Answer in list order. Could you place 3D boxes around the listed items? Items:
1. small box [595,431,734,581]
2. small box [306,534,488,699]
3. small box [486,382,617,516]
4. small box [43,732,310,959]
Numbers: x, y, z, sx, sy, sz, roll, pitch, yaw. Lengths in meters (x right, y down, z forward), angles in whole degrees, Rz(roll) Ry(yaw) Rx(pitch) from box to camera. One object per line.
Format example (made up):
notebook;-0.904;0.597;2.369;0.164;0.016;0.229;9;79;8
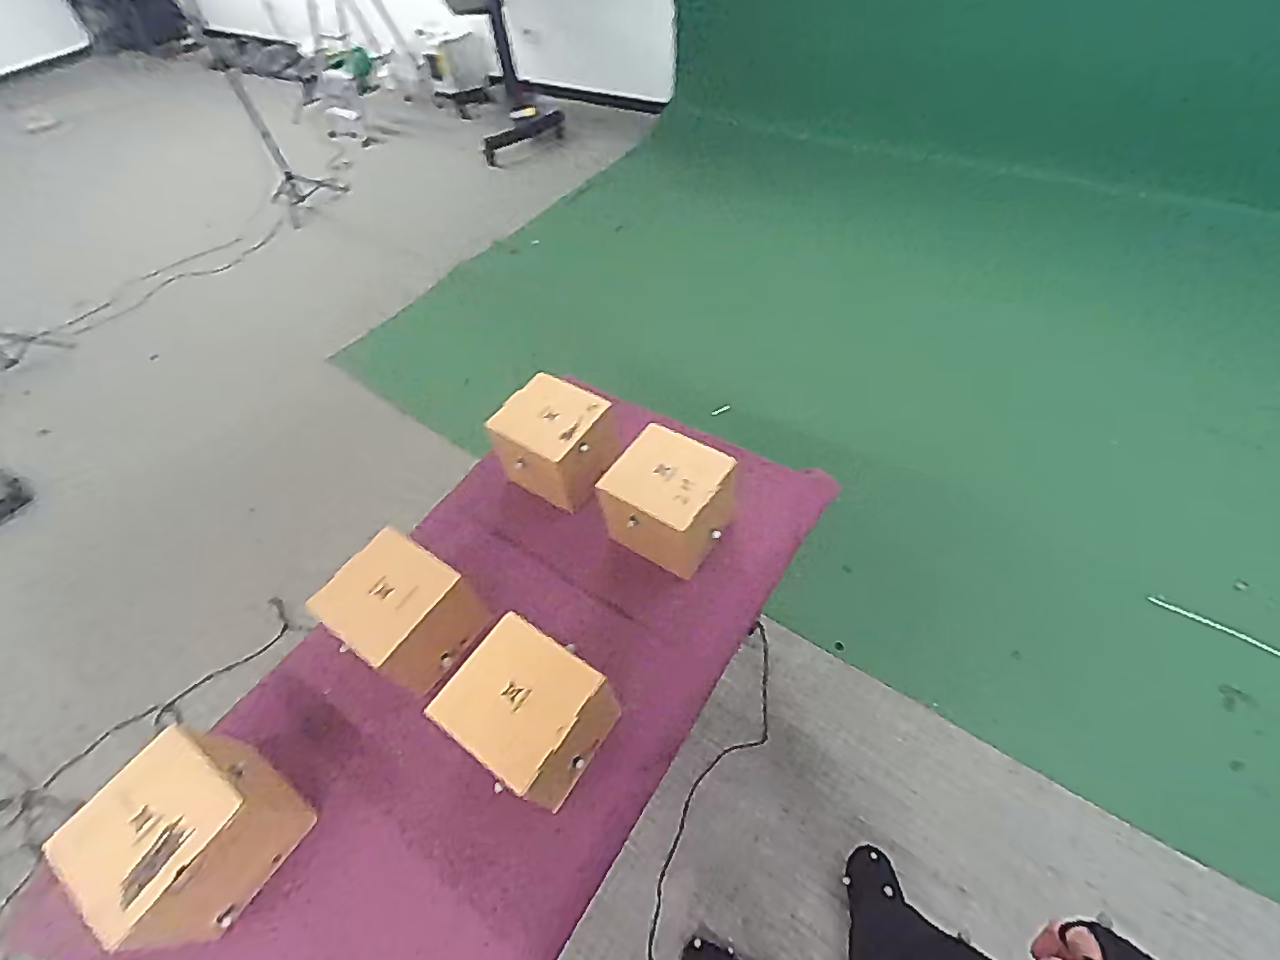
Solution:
small box;0.049;0.050;0.954;0.179;0.176;0.168;27;61;26
small box;-0.379;0.225;0.873;0.179;0.176;0.168;27;61;23
small box;-0.164;-0.058;1.063;0.179;0.176;0.168;26;60;23
small box;-0.582;0.467;0.705;0.179;0.176;0.168;25;59;23
